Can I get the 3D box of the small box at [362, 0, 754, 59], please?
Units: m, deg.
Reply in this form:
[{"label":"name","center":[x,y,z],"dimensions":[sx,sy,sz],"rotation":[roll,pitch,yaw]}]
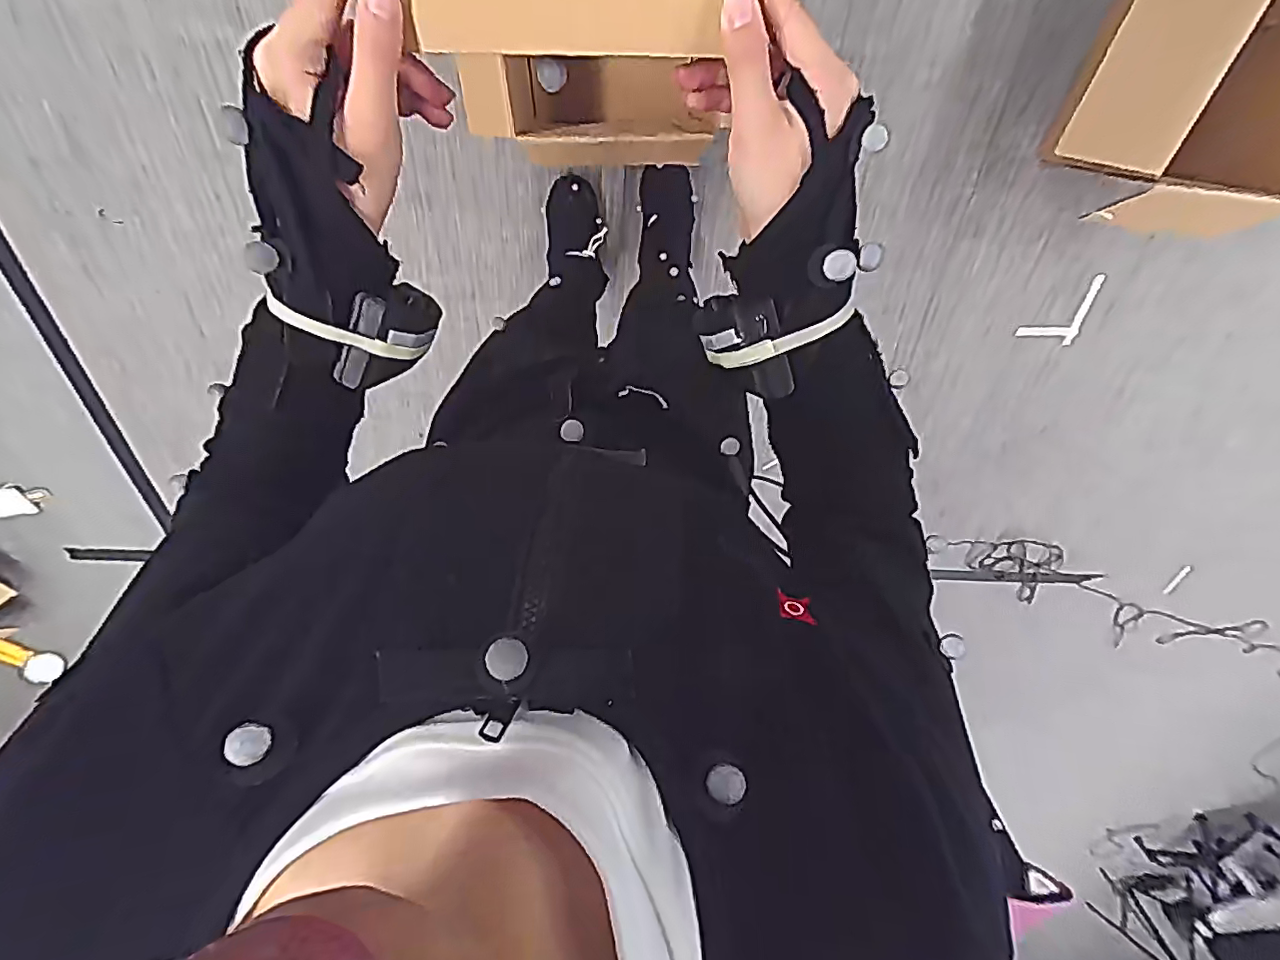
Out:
[{"label":"small box","center":[-0.039,-0.314,0.256],"dimensions":[0.179,0.176,0.168],"rotation":[-1,132,-3]}]
